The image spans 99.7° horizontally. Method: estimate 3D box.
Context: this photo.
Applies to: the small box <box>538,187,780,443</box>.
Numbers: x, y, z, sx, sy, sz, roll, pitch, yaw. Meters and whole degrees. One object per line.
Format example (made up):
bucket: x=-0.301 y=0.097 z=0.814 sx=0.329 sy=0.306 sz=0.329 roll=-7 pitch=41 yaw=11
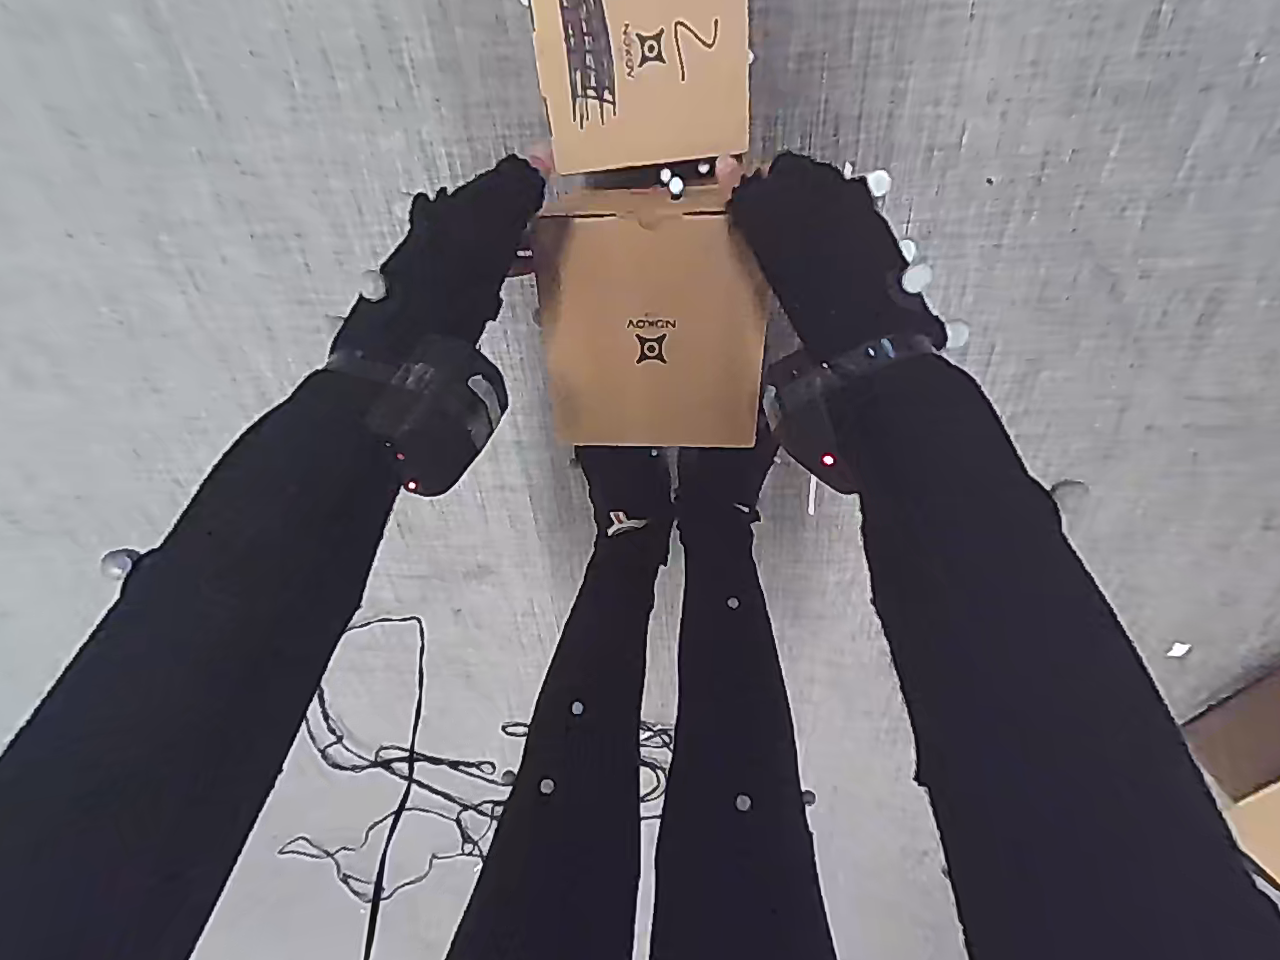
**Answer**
small box: x=0.023 y=-0.148 z=0.469 sx=0.168 sy=0.176 sz=0.179 roll=1 pitch=121 yaw=7
